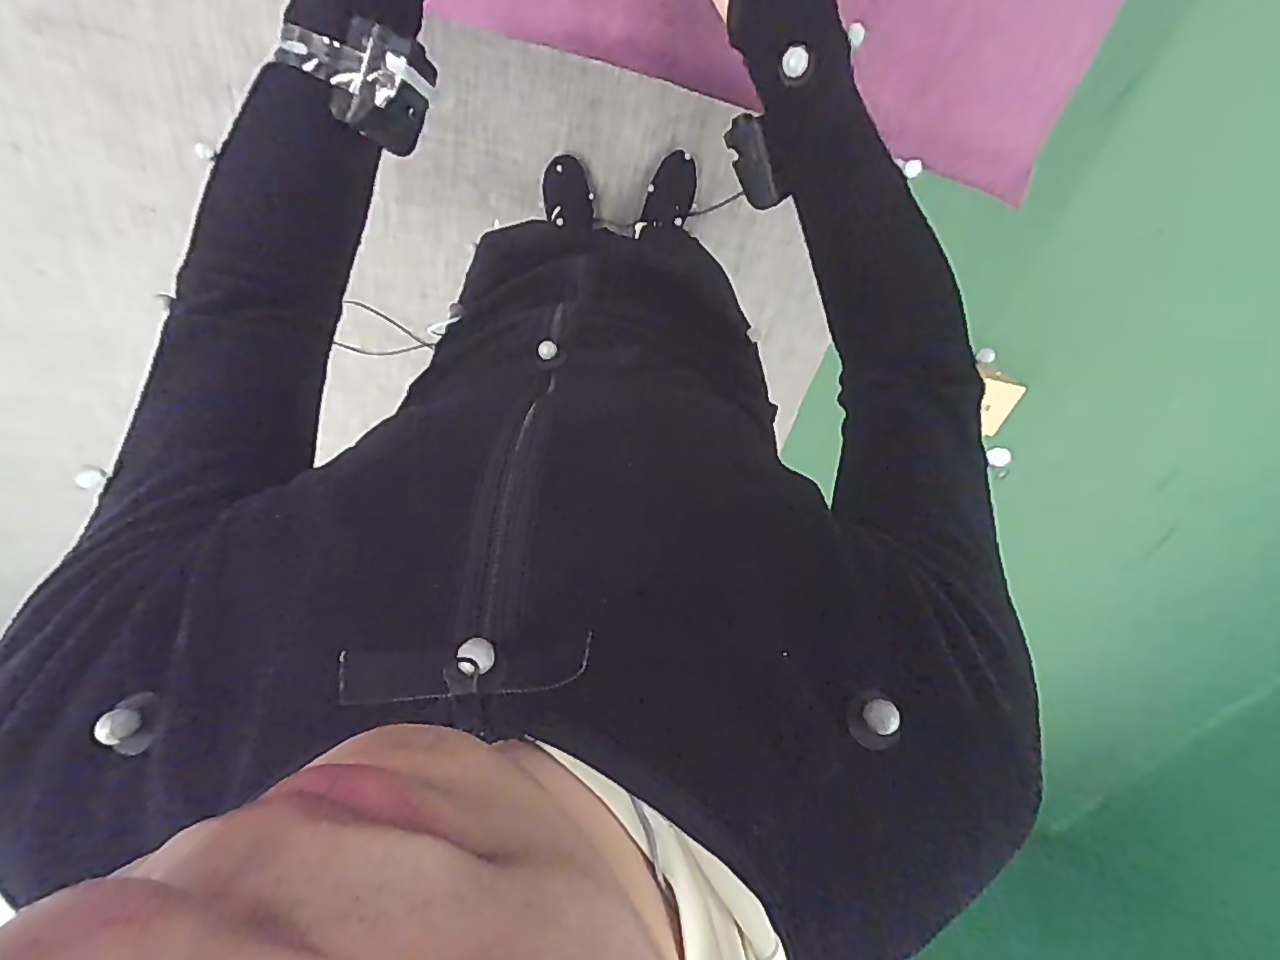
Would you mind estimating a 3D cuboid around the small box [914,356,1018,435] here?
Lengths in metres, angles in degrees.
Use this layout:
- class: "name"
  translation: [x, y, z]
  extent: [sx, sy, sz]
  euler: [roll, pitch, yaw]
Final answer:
- class: "small box"
  translation: [0.989, -0.262, 1.654]
  extent: [0.179, 0.176, 0.168]
  euler: [10, 123, -11]
